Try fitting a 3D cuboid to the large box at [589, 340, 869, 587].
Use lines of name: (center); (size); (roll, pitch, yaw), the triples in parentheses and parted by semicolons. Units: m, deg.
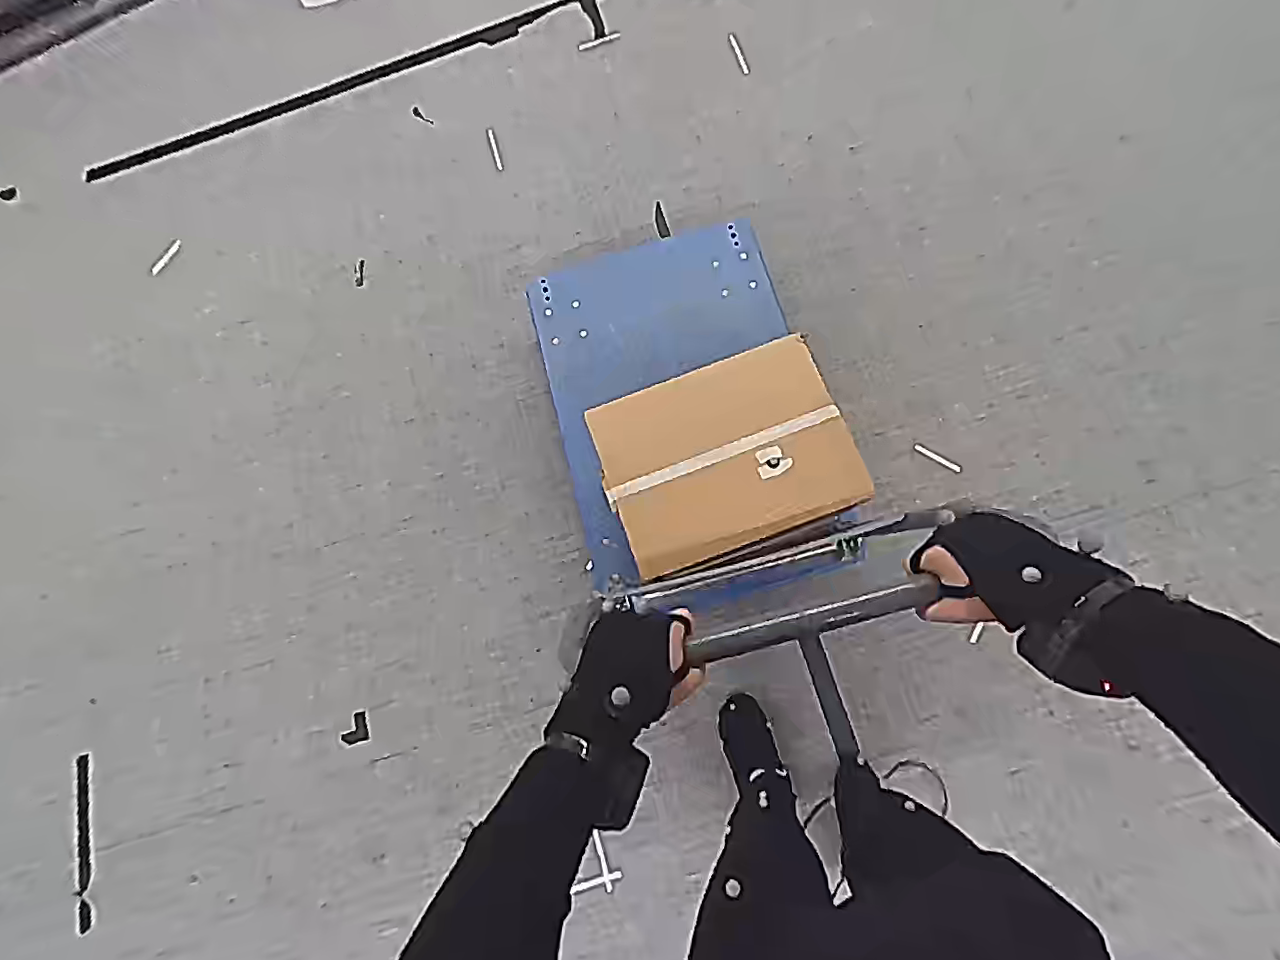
large box: (0.155, -0.007, 1.068); (0.408, 0.320, 0.320); (-21, 78, -1)
